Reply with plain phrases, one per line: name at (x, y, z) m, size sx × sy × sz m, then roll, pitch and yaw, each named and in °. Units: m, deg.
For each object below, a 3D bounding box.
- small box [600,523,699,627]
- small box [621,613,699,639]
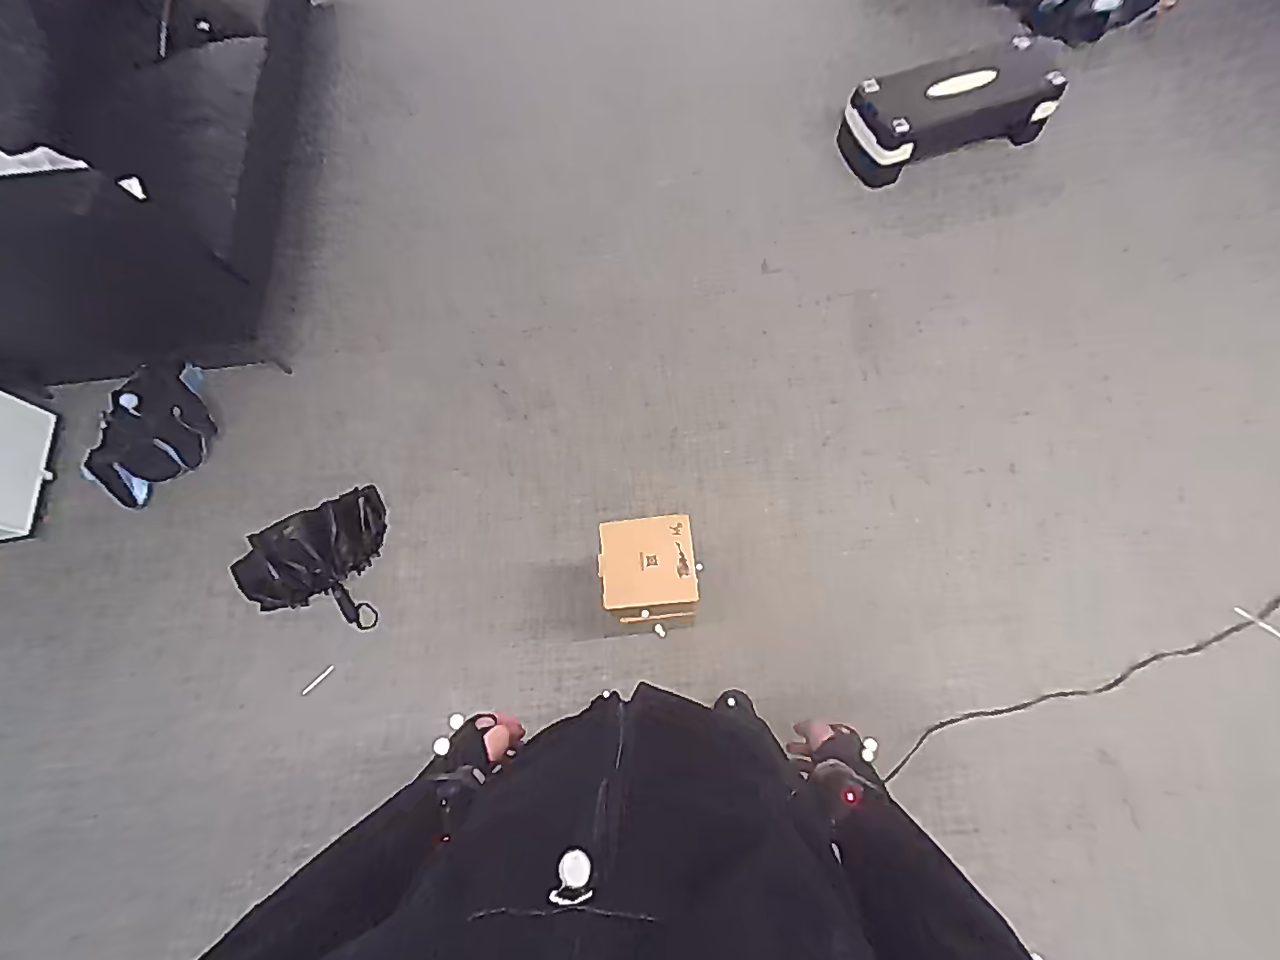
small box at (0.022, 0.195, 1.075) m, size 0.179 × 0.176 × 0.168 m, roll -6°, pitch 69°, yaw 3°
small box at (0.039, 0.256, 1.227) m, size 0.168 × 0.176 × 0.179 m, roll -8°, pitch 69°, yaw 2°
